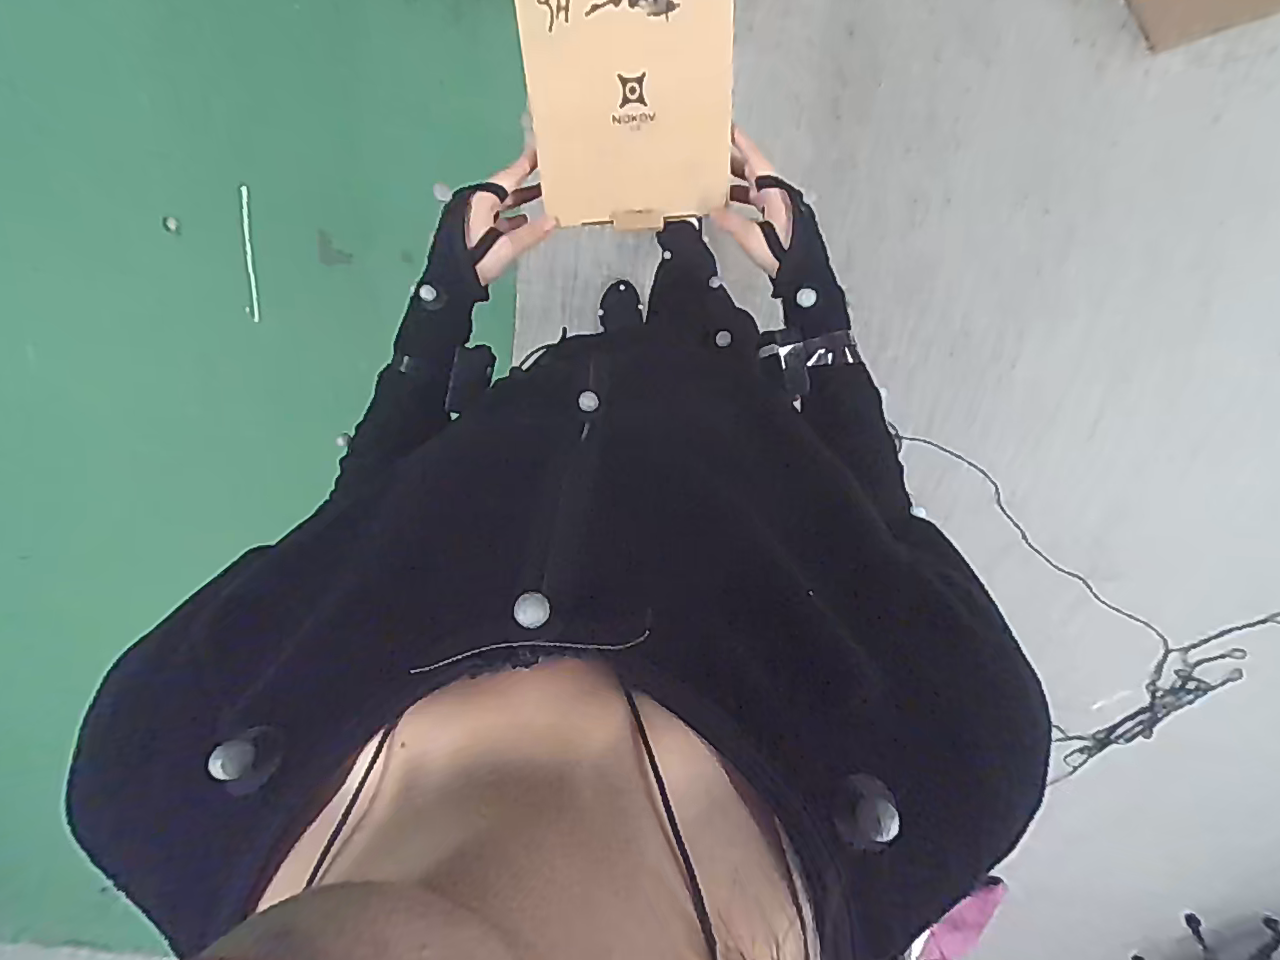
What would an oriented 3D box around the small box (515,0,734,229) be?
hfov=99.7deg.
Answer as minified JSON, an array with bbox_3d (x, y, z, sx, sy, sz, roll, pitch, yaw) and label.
[{"bbox_3d":[-0.014,-0.344,0.502,0.168,0.176,0.179,-6,122,-3],"label":"small box"}]
